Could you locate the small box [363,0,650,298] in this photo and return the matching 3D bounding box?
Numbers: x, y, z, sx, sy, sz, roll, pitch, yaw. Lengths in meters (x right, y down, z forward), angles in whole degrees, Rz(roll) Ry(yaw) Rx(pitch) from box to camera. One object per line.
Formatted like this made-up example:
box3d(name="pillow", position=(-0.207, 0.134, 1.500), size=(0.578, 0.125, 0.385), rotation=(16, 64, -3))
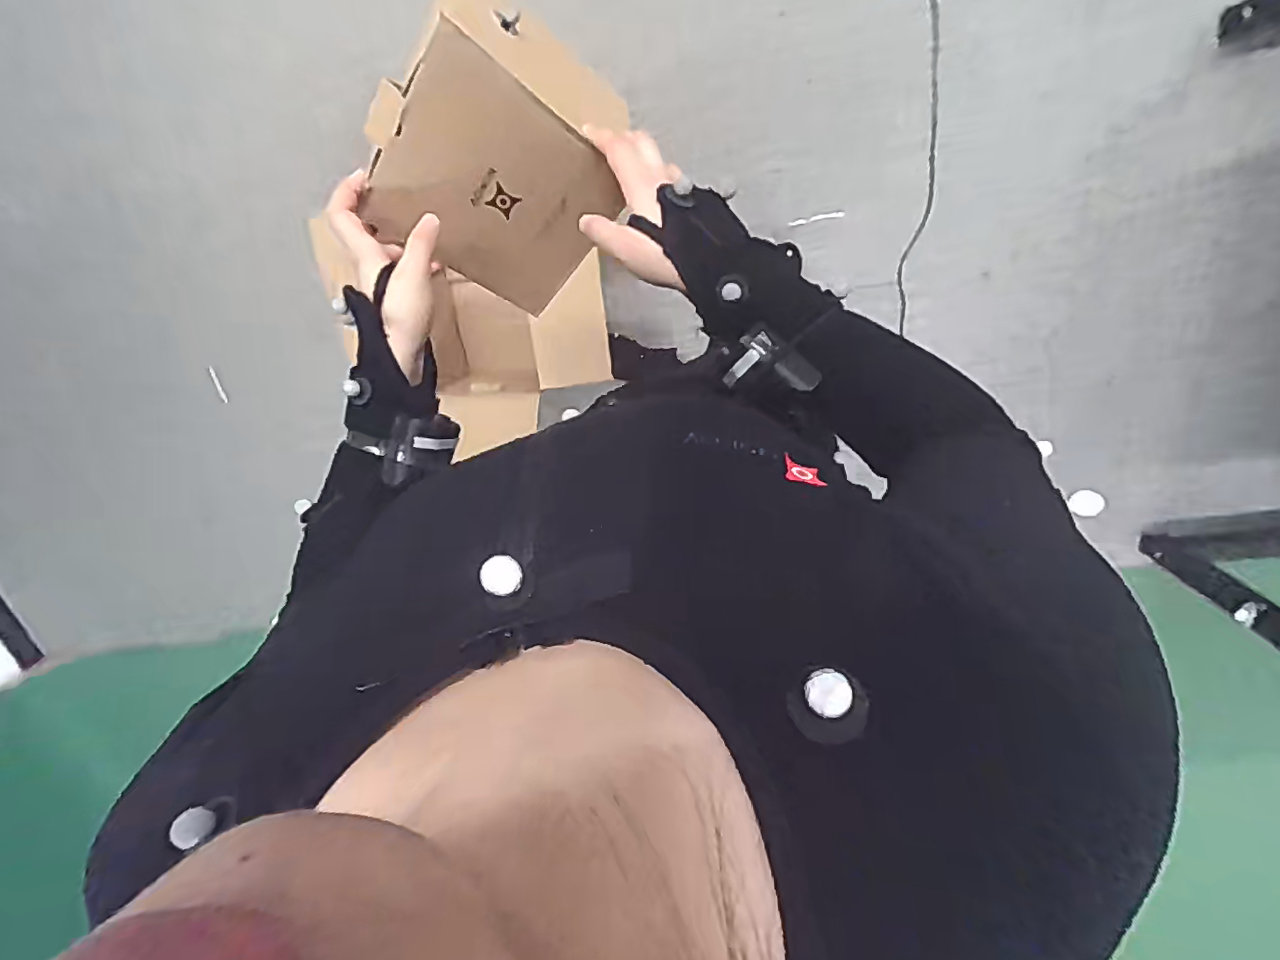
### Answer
box3d(name="small box", position=(-0.115, -0.310, 0.487), size=(0.179, 0.176, 0.168), rotation=(23, 135, -35))
